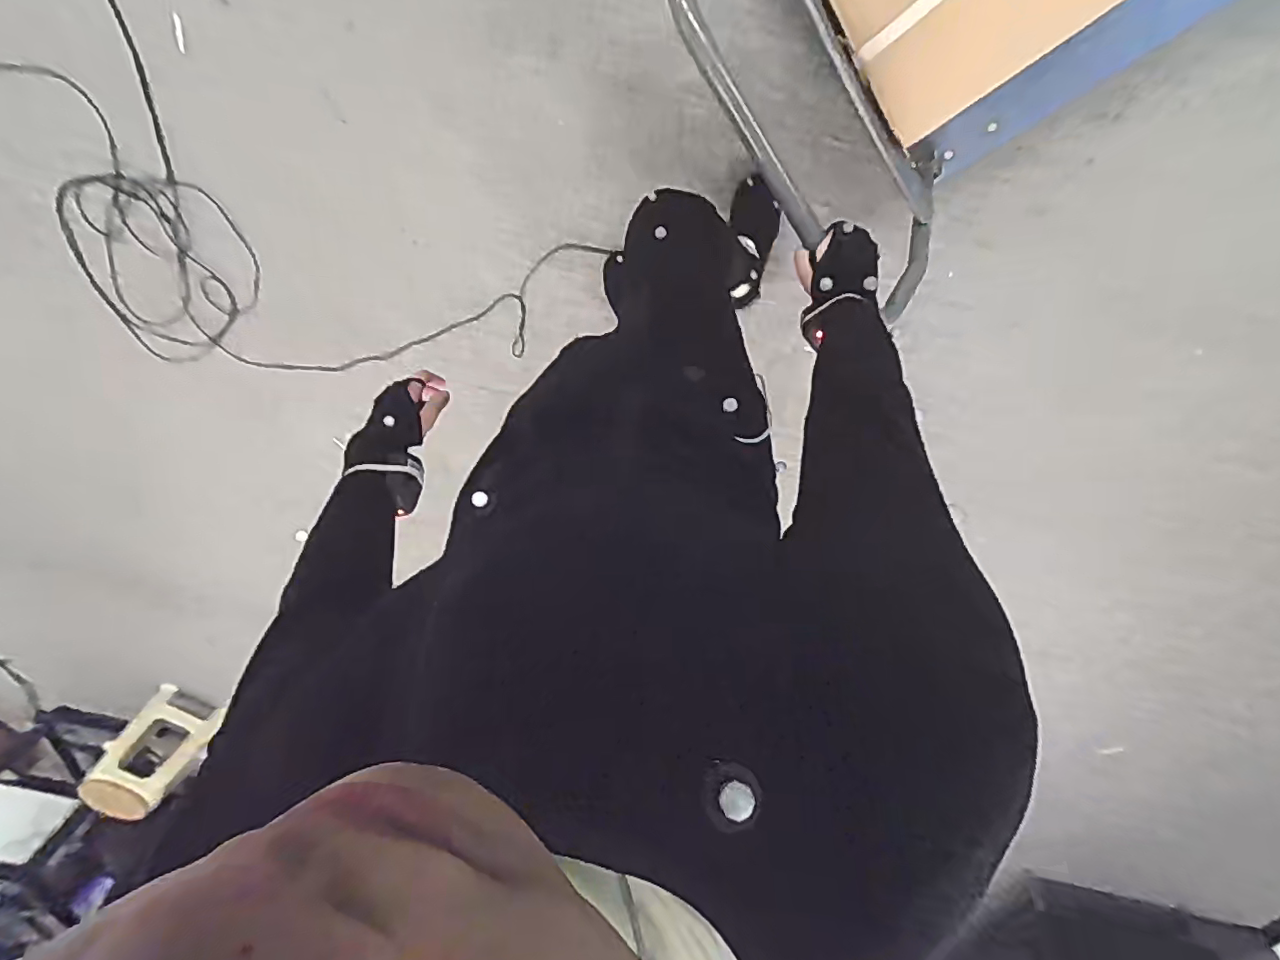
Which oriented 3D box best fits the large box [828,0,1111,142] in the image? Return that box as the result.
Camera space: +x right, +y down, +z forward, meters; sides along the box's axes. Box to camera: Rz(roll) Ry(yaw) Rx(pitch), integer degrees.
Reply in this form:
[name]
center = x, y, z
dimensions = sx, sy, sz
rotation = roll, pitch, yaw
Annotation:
[large box]
center = 0.522, -0.811, 0.812
dimensions = 0.408, 0.320, 0.320
rotation = -24, 117, 38
